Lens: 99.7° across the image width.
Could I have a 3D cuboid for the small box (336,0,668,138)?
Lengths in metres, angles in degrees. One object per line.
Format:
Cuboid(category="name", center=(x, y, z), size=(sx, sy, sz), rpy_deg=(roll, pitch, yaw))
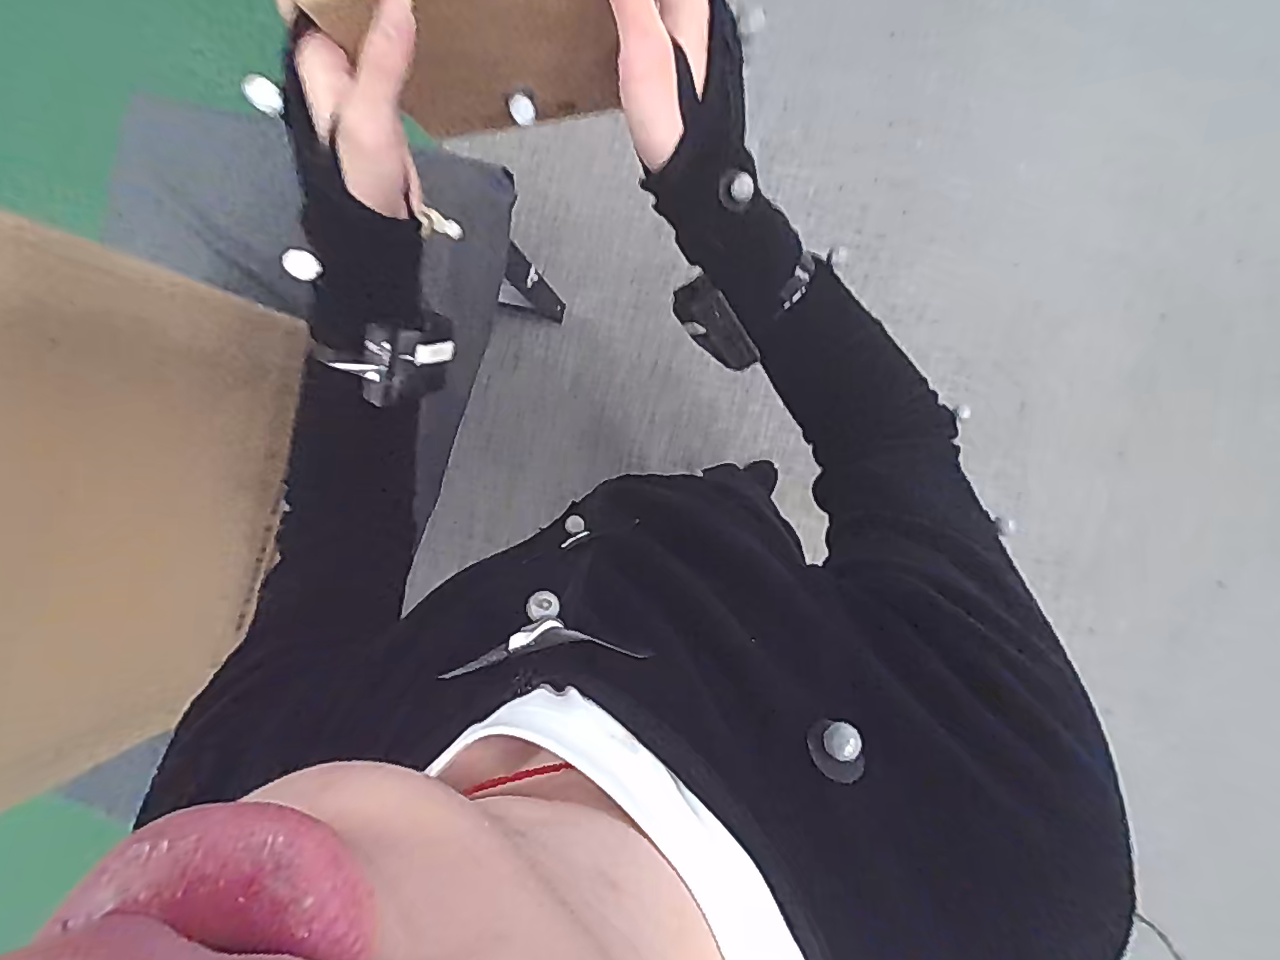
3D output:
Cuboid(category="small box", center=(-0.077, -0.329, 0.303), size=(0.168, 0.176, 0.179), rpy_deg=(-7, 103, 2))
